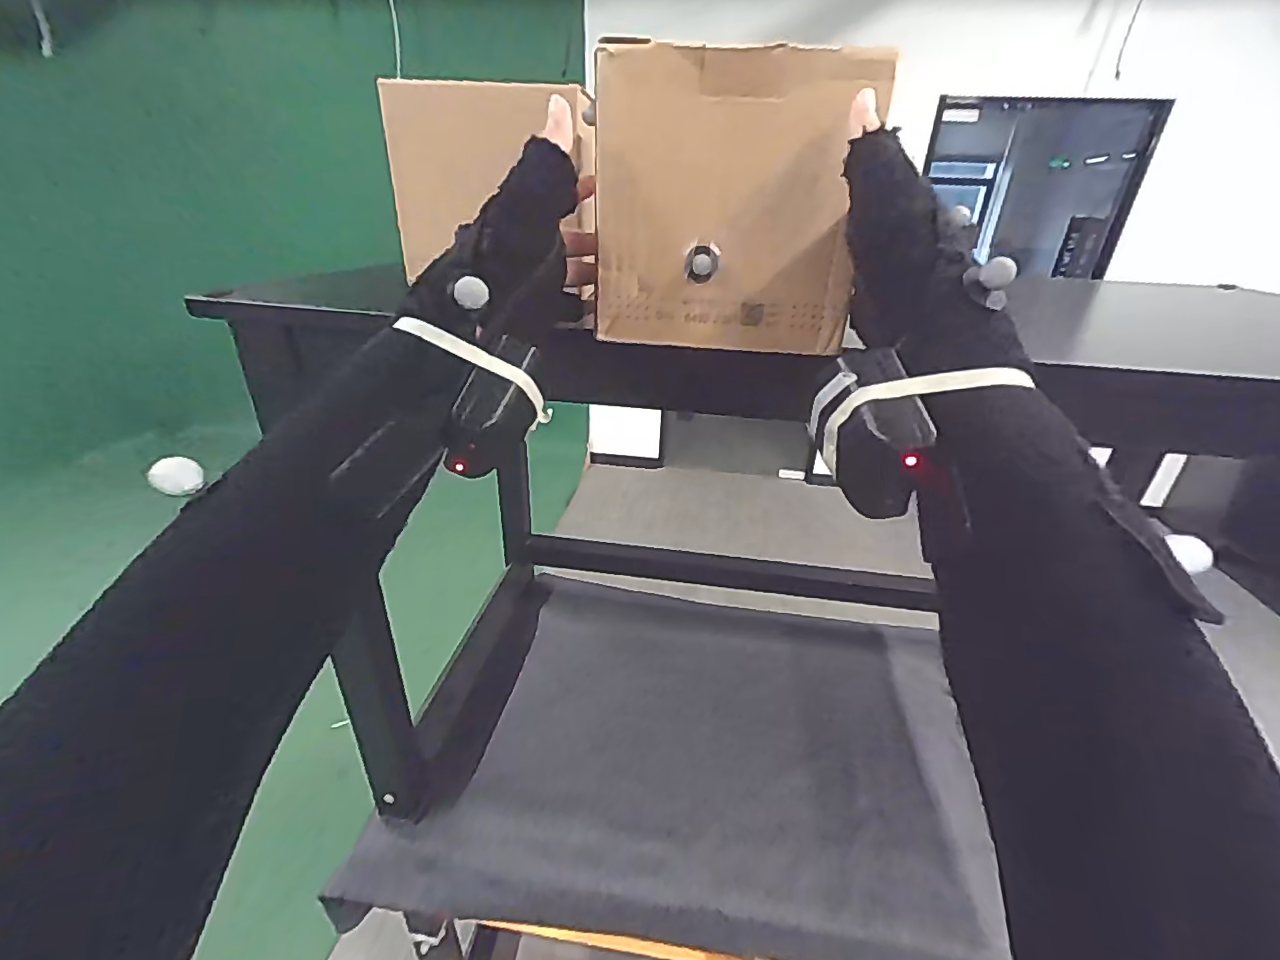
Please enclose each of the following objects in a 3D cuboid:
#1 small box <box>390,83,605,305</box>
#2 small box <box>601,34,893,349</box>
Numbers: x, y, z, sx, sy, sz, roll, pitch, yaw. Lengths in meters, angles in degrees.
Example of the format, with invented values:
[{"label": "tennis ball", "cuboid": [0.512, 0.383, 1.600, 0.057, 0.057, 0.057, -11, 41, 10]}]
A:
[{"label": "small box", "cuboid": [-0.122, -0.281, 0.548, 0.168, 0.176, 0.179, 3, 27, 3]}, {"label": "small box", "cuboid": [0.063, -0.206, 0.410, 0.168, 0.176, 0.179, 4, 26, 4]}]
